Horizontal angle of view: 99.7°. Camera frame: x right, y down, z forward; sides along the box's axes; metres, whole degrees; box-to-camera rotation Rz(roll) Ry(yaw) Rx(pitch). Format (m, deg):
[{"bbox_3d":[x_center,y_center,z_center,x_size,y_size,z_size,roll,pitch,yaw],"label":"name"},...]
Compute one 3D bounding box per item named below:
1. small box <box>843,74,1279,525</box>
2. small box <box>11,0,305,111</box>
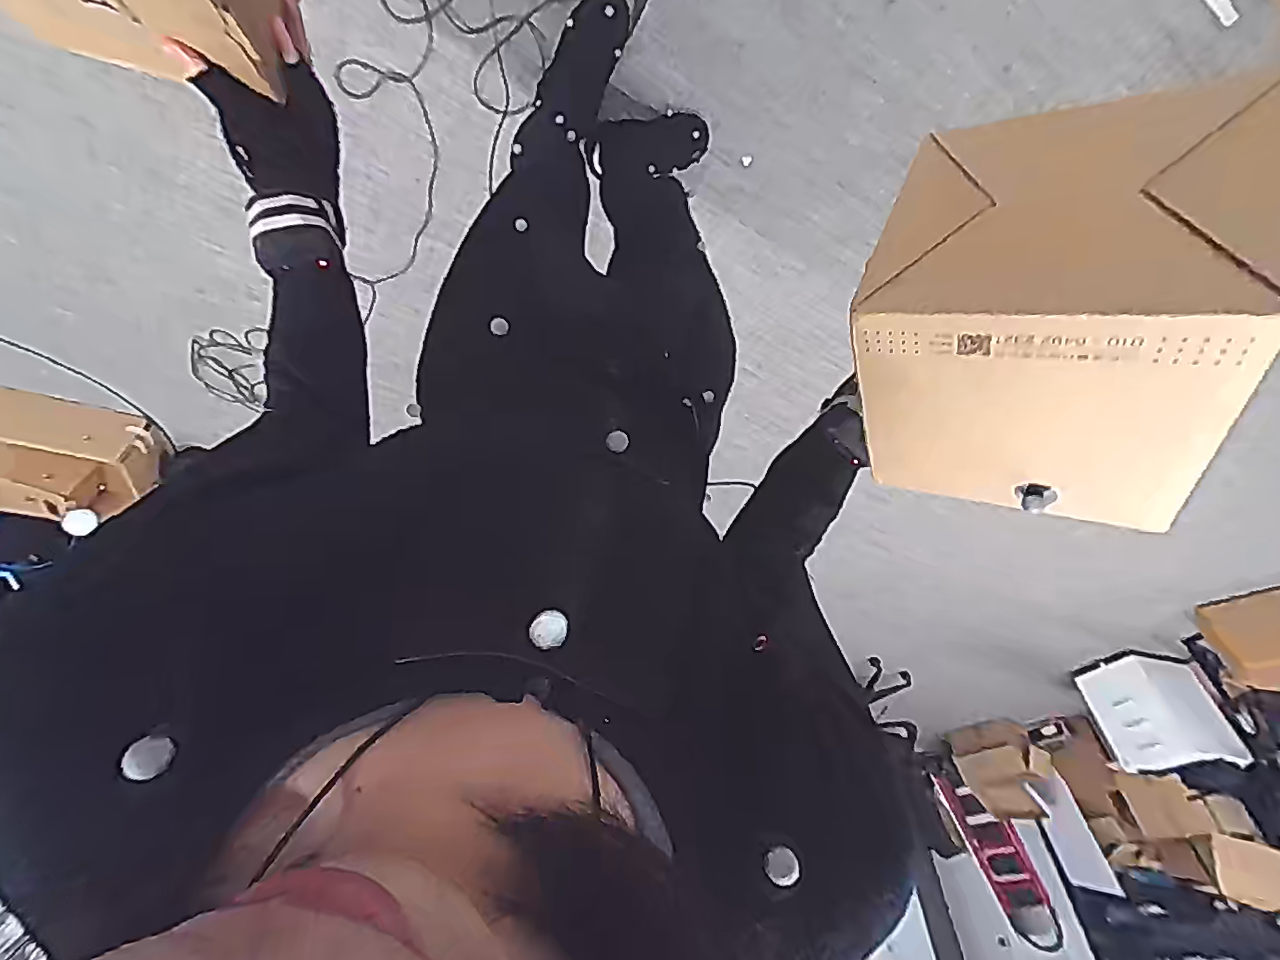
[{"bbox_3d":[0.240,-0.101,0.330,0.168,0.179,0.176,12,153,37],"label":"small box"},{"bbox_3d":[-0.358,-0.415,0.379,0.179,0.176,0.168,11,179,-11],"label":"small box"}]
